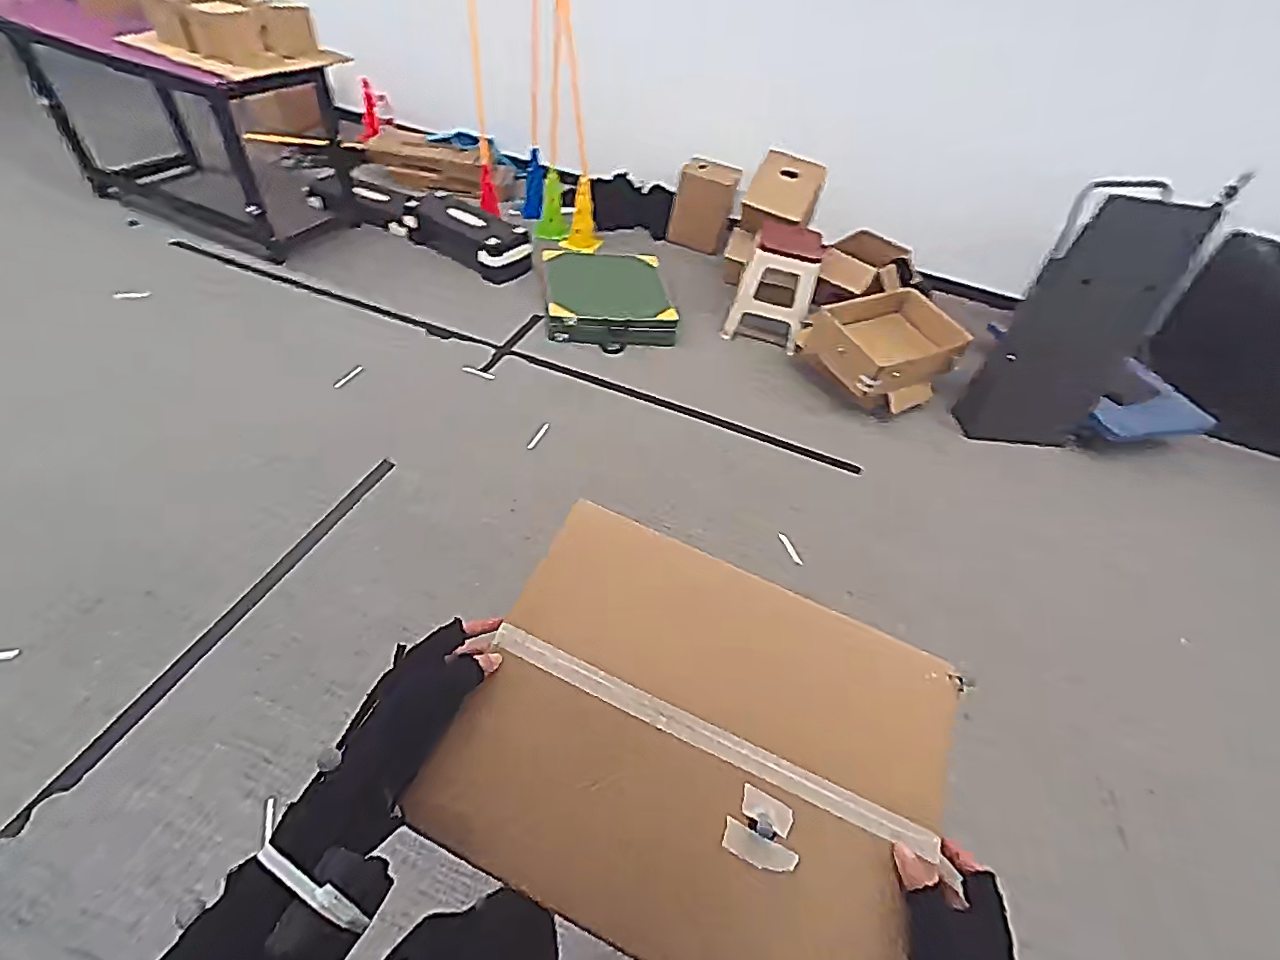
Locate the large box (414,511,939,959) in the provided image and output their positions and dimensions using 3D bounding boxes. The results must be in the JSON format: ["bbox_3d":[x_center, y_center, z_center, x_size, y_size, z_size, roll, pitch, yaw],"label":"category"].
[{"bbox_3d":[0.040,0.296,0.610,0.408,0.320,0.320,23,61,8],"label":"large box"}]
